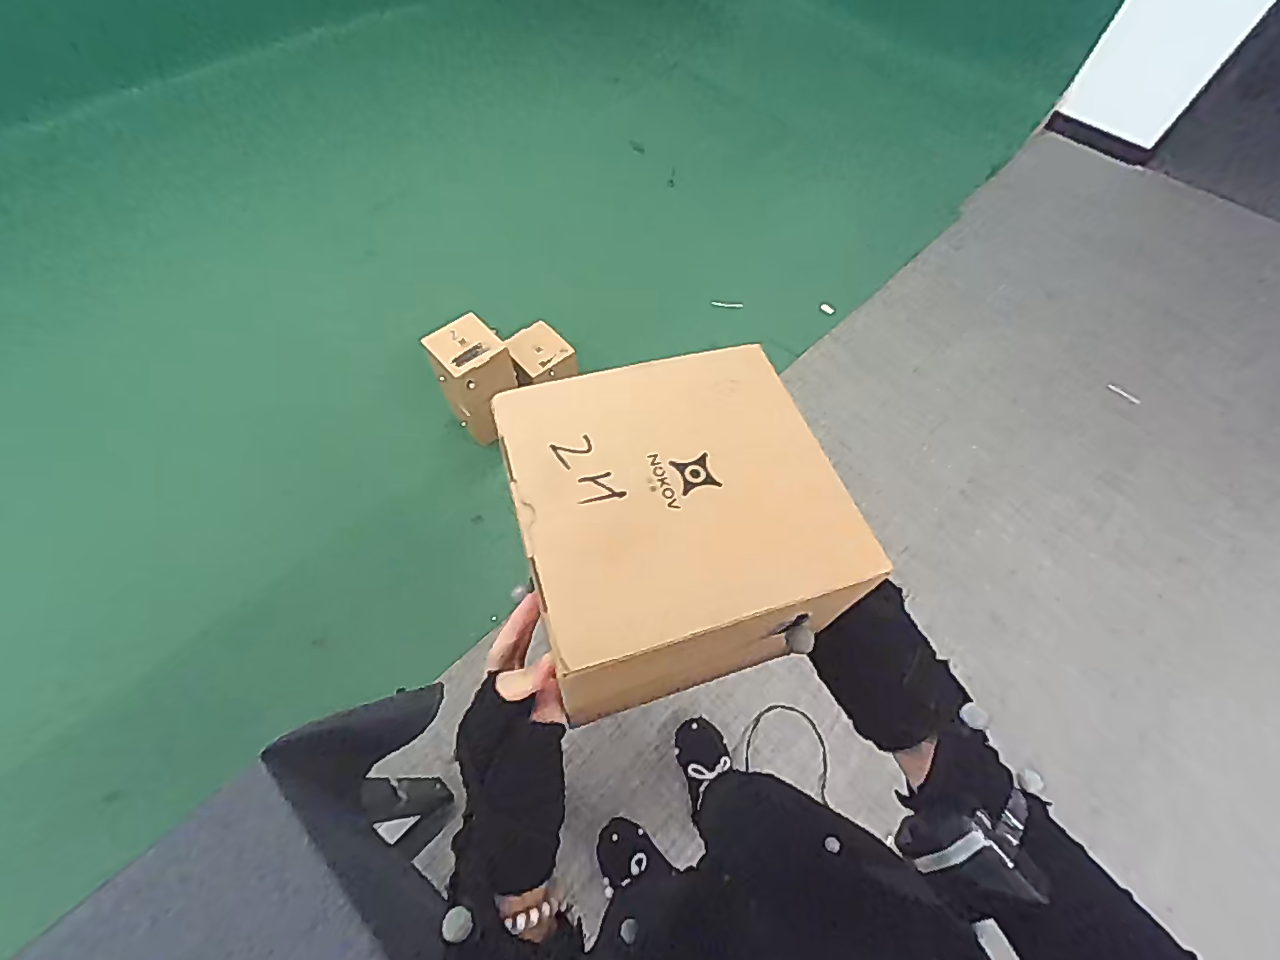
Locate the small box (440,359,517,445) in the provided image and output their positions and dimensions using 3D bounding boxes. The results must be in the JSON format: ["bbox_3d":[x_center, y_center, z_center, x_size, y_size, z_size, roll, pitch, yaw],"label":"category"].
[{"bbox_3d":[-0.479,-0.232,1.669,0.168,0.176,0.179,-36,68,-20],"label":"small box"}]

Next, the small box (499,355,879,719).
[{"bbox_3d":[0.014,0.044,0.367,0.179,0.176,0.168,-13,60,-13],"label":"small box"}]
